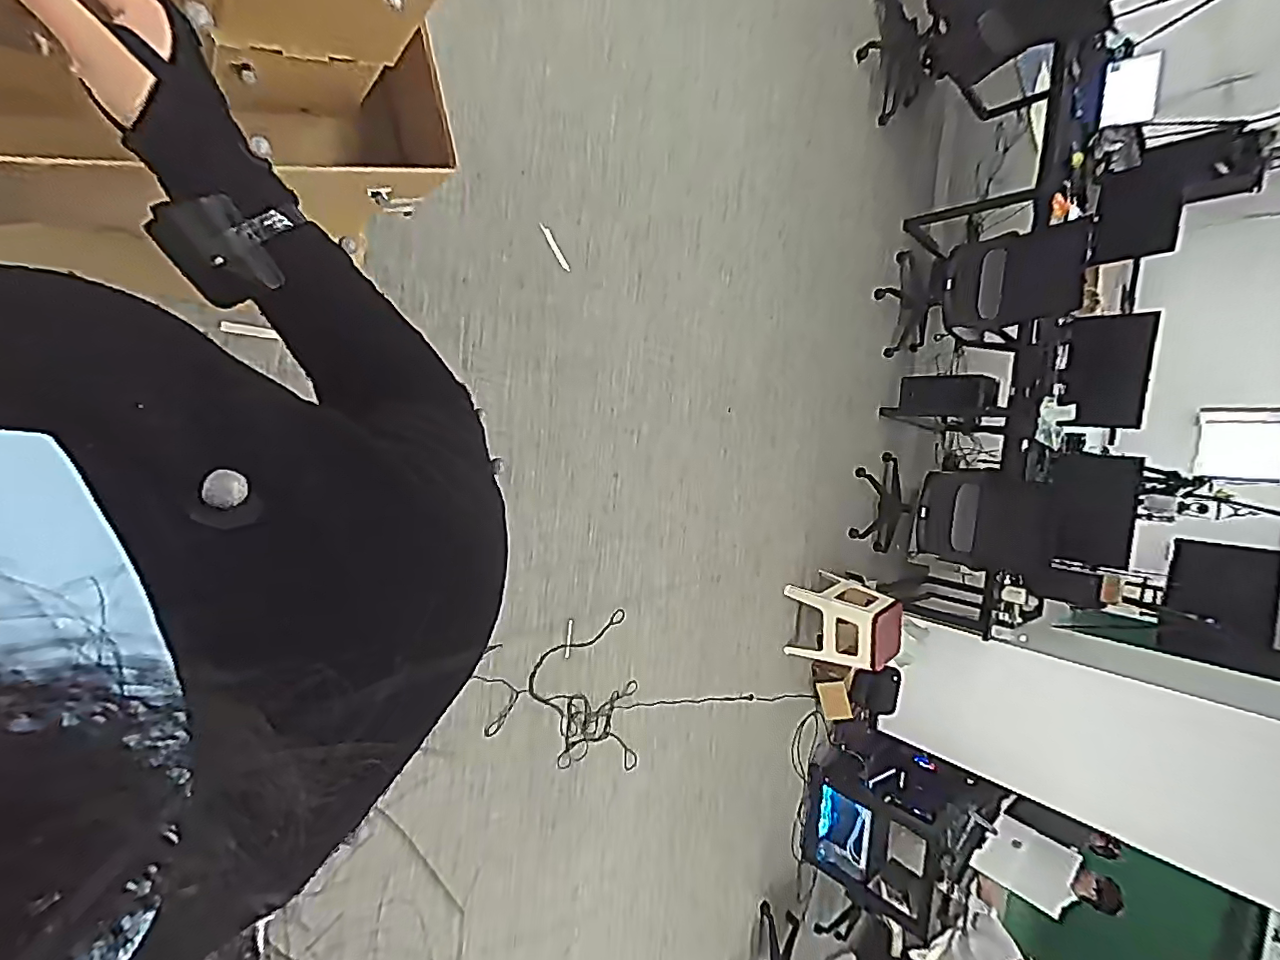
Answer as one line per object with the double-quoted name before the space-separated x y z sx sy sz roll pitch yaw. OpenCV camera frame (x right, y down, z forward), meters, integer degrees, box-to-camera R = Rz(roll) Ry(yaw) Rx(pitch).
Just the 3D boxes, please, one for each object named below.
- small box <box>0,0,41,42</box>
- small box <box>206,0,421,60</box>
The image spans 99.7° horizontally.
"small box" -0.435 -0.351 0.260 0.179 0.176 0.168 -13 114 -40
"small box" -0.307 -0.526 0.492 0.179 0.176 0.168 -18 108 -39
